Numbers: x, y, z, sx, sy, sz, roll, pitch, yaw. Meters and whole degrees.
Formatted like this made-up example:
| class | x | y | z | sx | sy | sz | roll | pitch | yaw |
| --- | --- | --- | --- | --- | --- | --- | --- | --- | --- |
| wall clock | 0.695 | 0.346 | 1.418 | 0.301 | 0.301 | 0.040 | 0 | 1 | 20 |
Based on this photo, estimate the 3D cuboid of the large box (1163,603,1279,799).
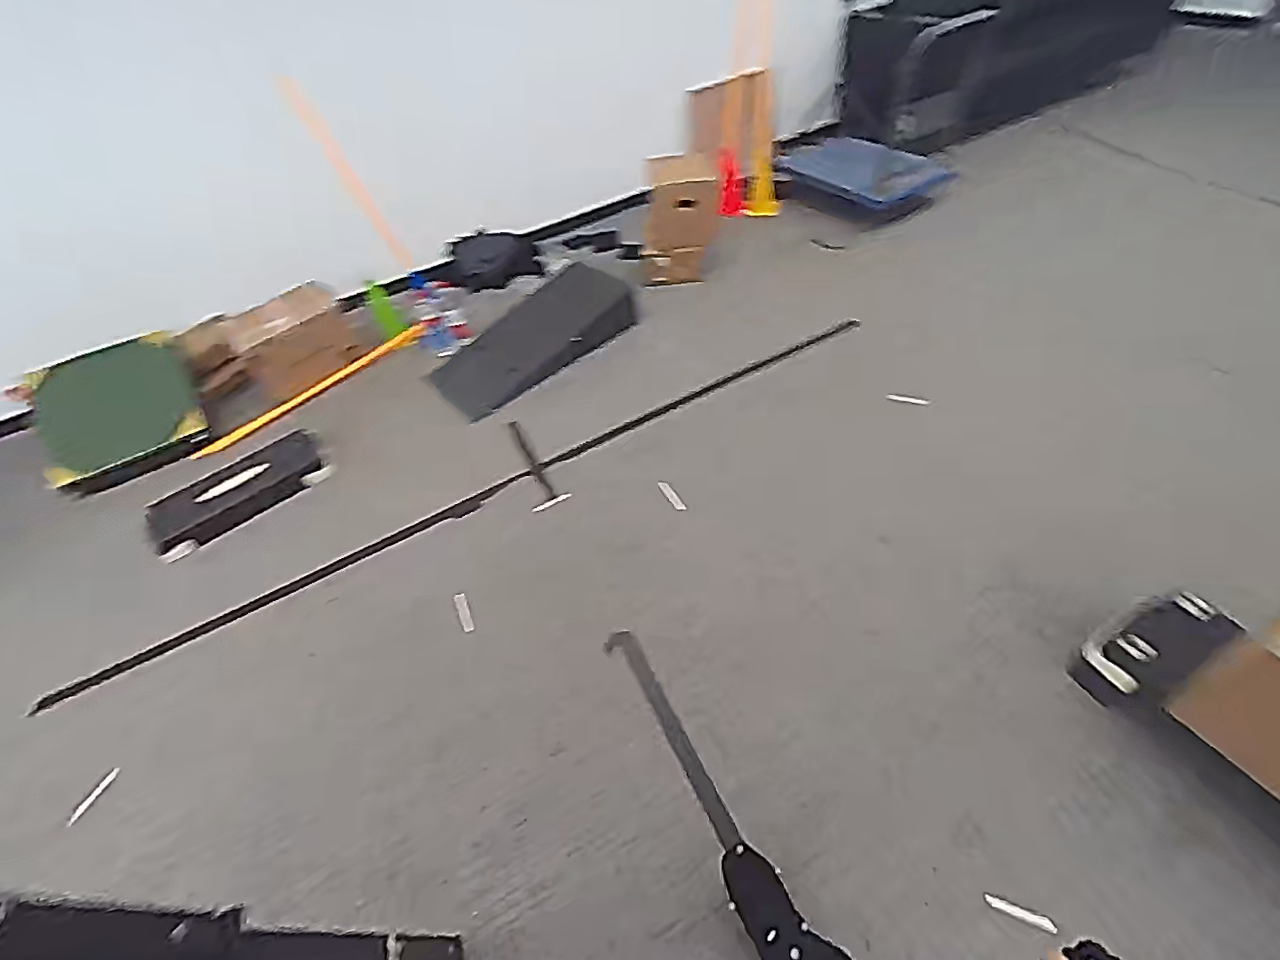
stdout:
| class | x | y | z | sx | sy | sz | roll | pitch | yaw |
| --- | --- | --- | --- | --- | --- | --- | --- | --- | --- |
| large box | 1.298 | 0.429 | 0.940 | 0.320 | 0.320 | 0.408 | -28 | 48 | -15 |
